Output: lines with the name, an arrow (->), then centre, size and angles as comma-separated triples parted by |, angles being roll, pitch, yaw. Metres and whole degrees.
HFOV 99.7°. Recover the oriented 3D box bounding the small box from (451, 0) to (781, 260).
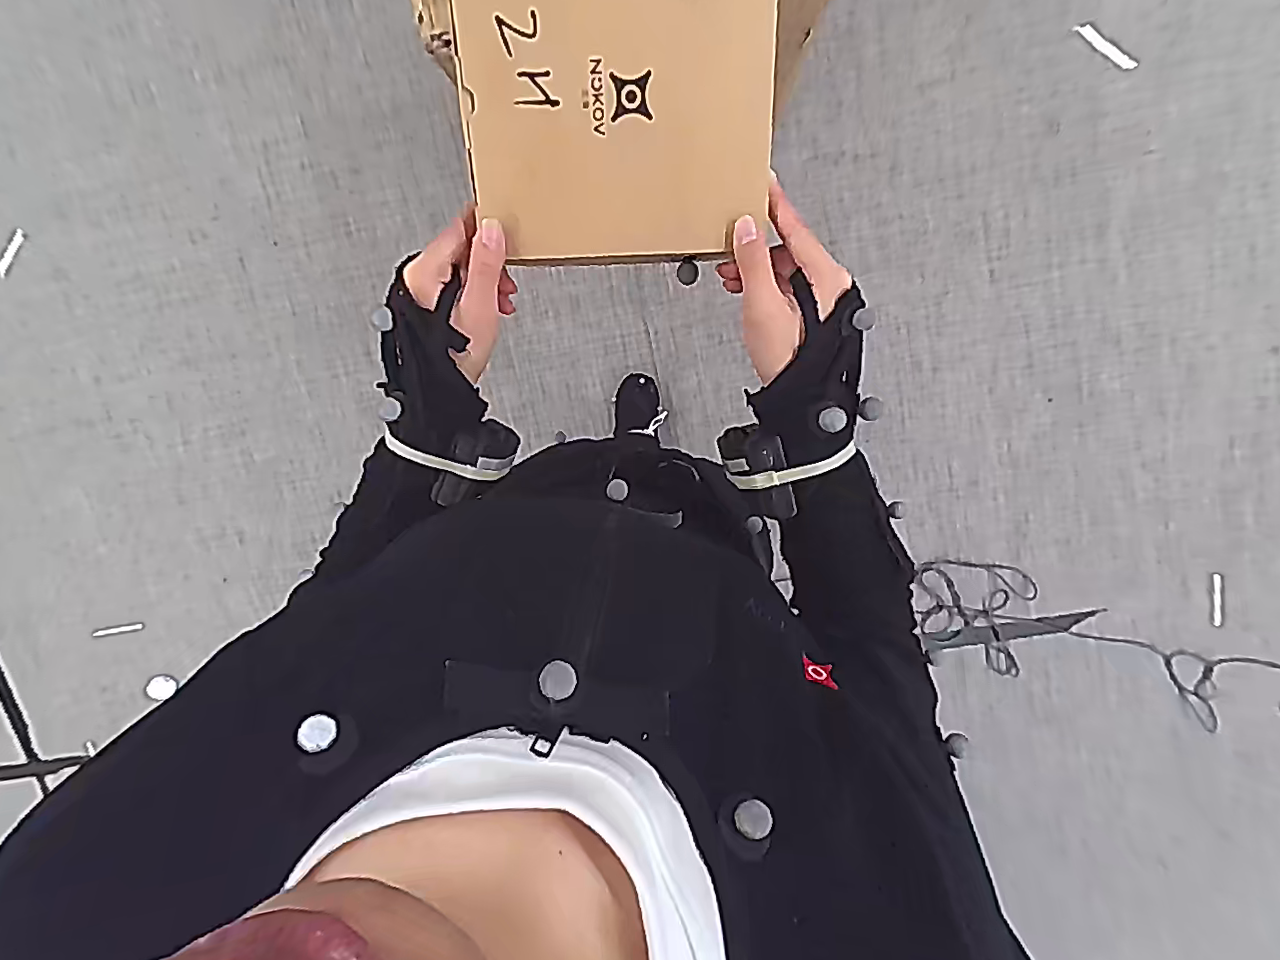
small box -> -0.011, -0.244, 0.370 | 0.179, 0.176, 0.168 | -1, 110, 2
